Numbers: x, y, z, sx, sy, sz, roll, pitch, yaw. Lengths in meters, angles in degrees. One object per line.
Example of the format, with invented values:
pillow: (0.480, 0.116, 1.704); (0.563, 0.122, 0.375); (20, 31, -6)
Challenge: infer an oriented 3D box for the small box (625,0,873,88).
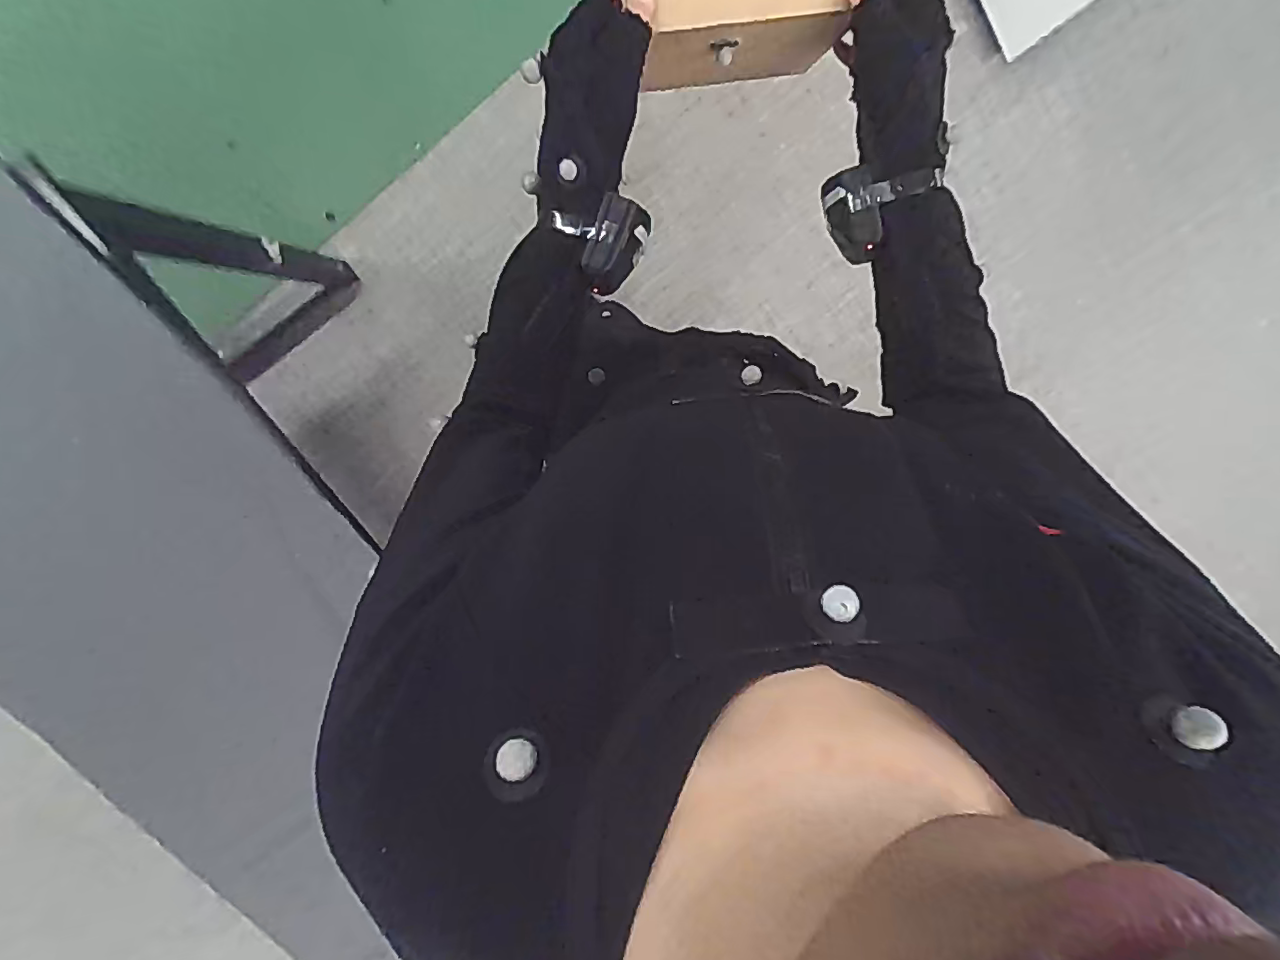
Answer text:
small box: (0.072, -0.428, 0.420); (0.179, 0.176, 0.168); (-5, 113, 1)
